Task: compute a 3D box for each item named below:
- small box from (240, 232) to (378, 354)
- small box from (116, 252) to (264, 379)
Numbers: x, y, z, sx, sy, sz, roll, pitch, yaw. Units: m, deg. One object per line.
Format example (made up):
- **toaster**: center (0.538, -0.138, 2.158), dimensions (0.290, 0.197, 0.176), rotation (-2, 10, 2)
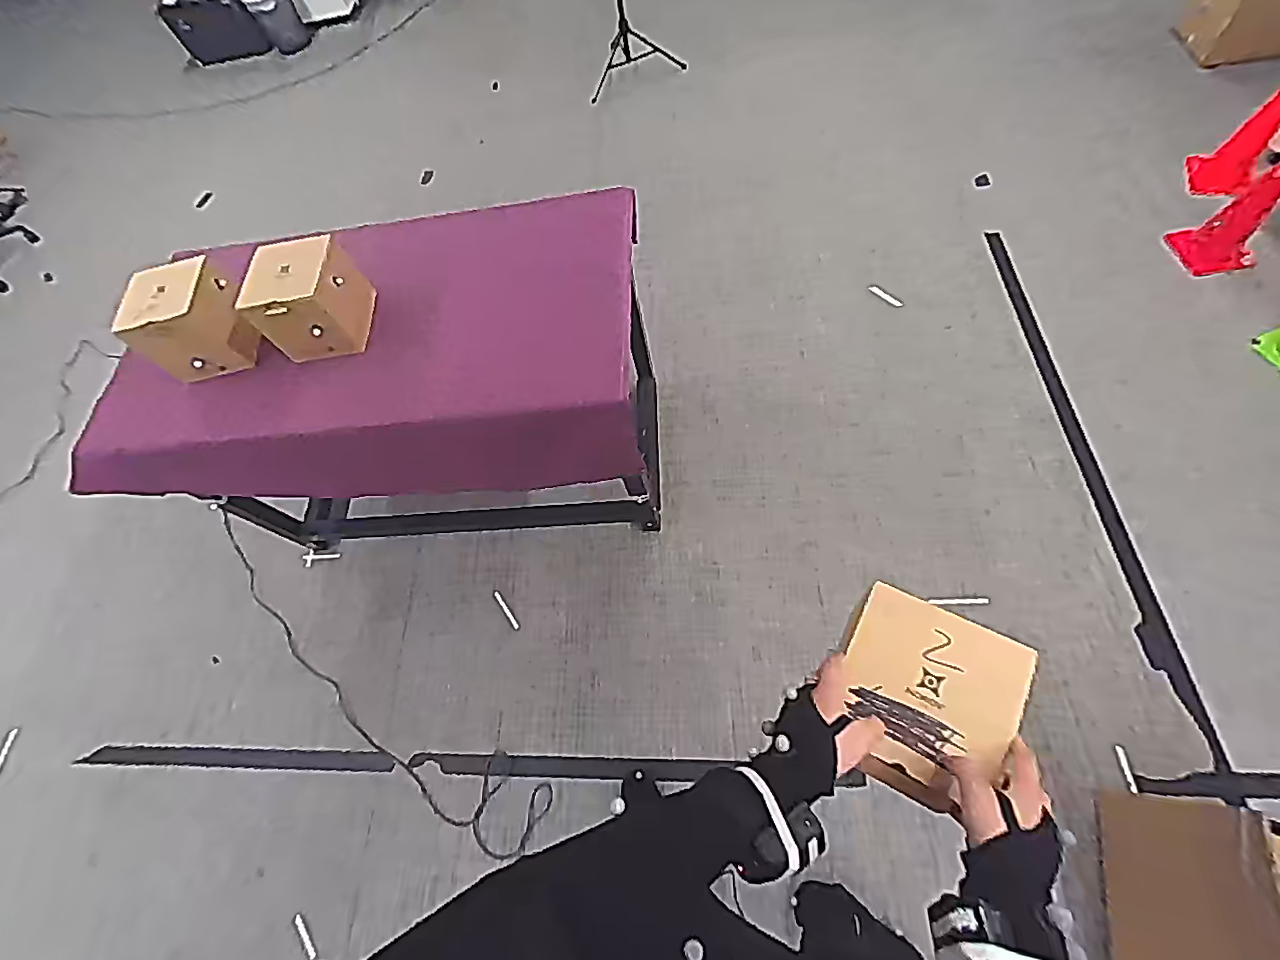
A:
- **small box**: center (-0.678, -0.381, 1.132), dimensions (0.168, 0.176, 0.179), rotation (-6, 63, 6)
- **small box**: center (-0.945, -0.347, 1.160), dimensions (0.168, 0.176, 0.179), rotation (-12, 63, 4)
